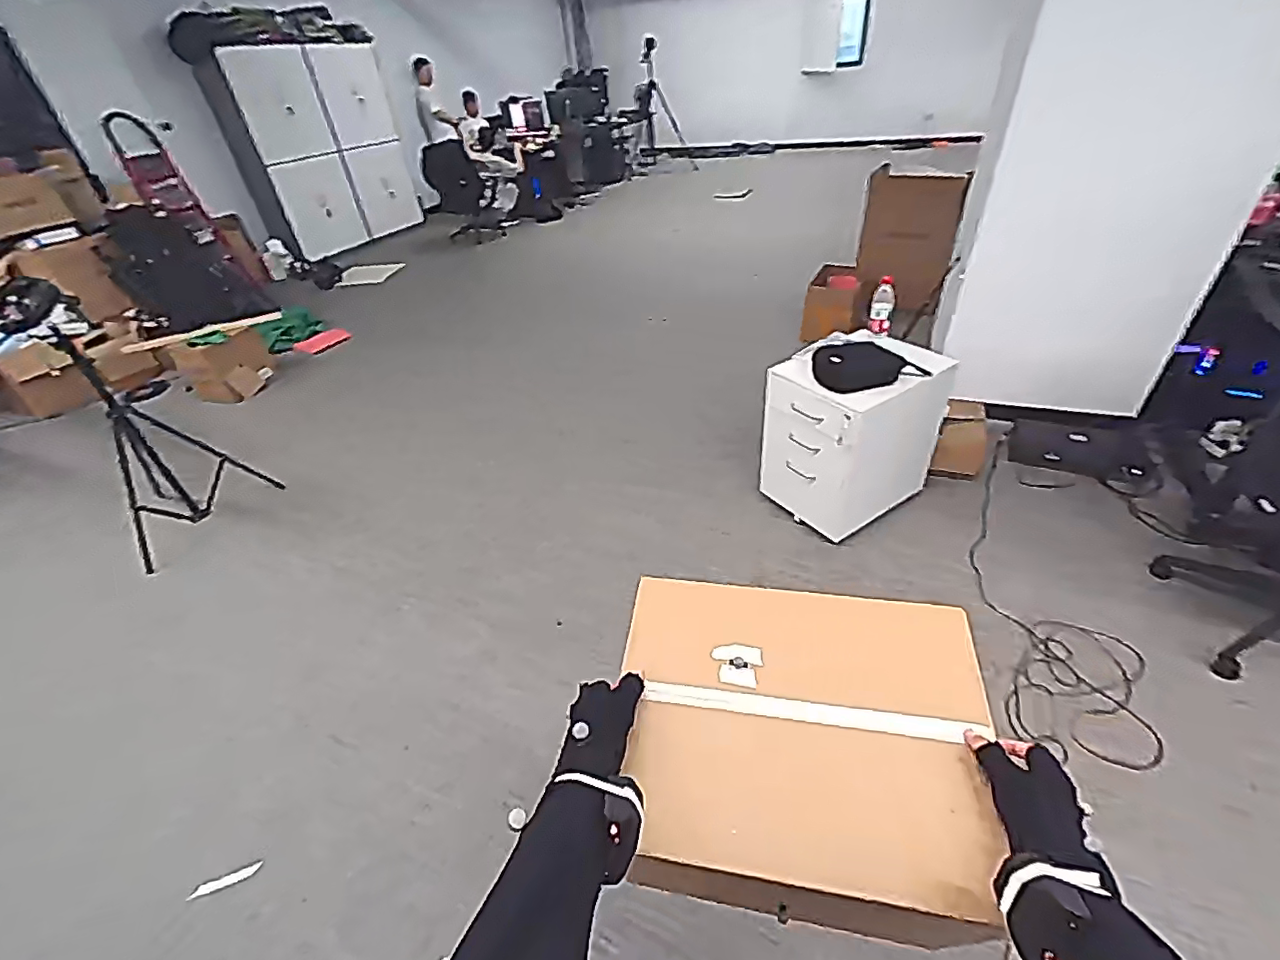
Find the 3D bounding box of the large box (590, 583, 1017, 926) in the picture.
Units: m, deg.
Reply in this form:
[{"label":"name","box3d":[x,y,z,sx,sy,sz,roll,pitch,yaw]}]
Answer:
[{"label":"large box","box3d":[0.185,0.361,0.721,0.408,0.320,0.320,3,48,11]}]
